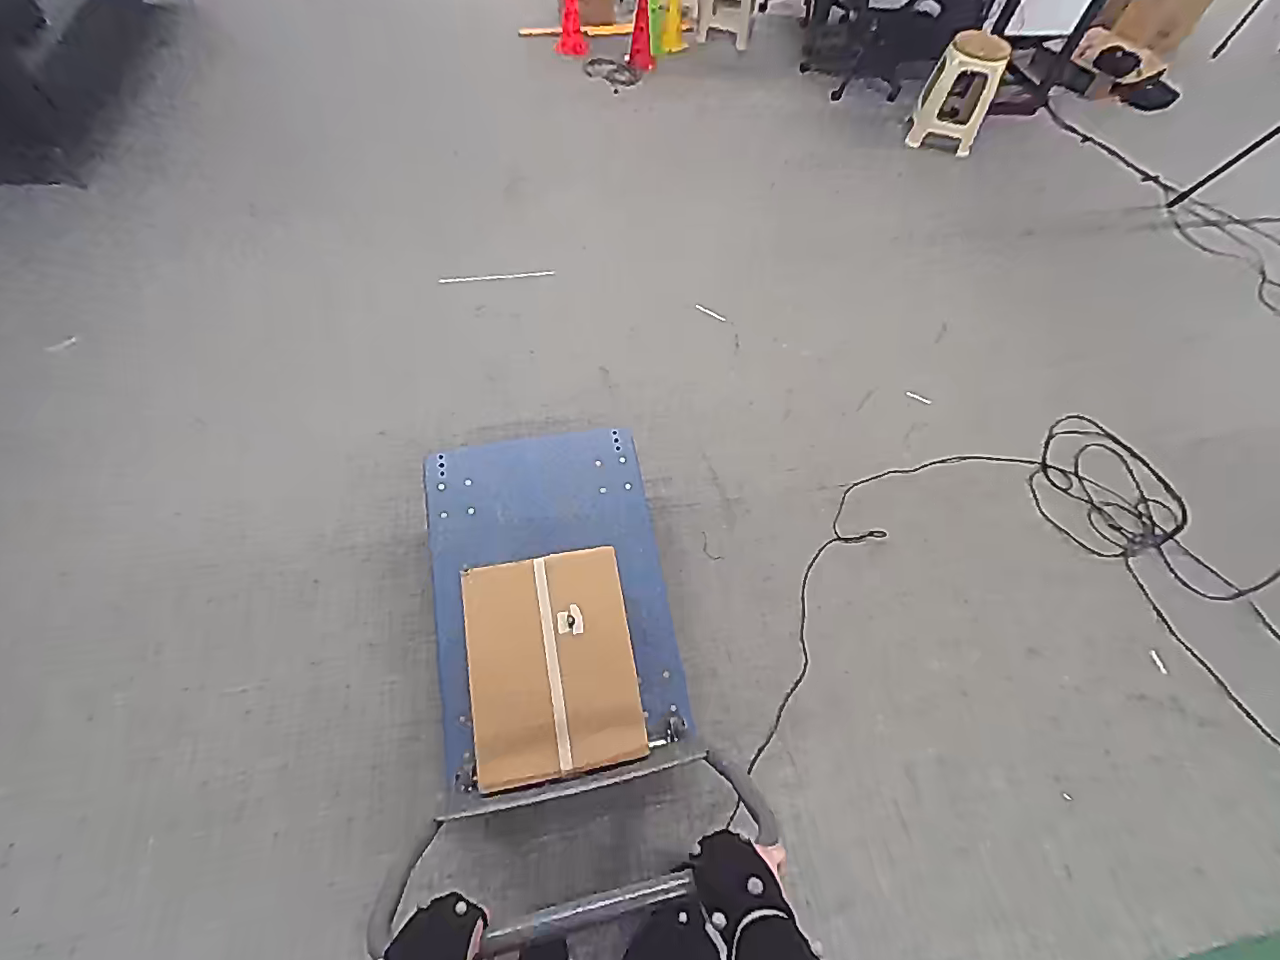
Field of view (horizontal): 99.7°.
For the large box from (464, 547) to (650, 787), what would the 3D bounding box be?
[{"bbox_3d":[-0.182,0.401,1.197,0.320,0.320,0.408,-9,70,-10],"label":"large box"}]
